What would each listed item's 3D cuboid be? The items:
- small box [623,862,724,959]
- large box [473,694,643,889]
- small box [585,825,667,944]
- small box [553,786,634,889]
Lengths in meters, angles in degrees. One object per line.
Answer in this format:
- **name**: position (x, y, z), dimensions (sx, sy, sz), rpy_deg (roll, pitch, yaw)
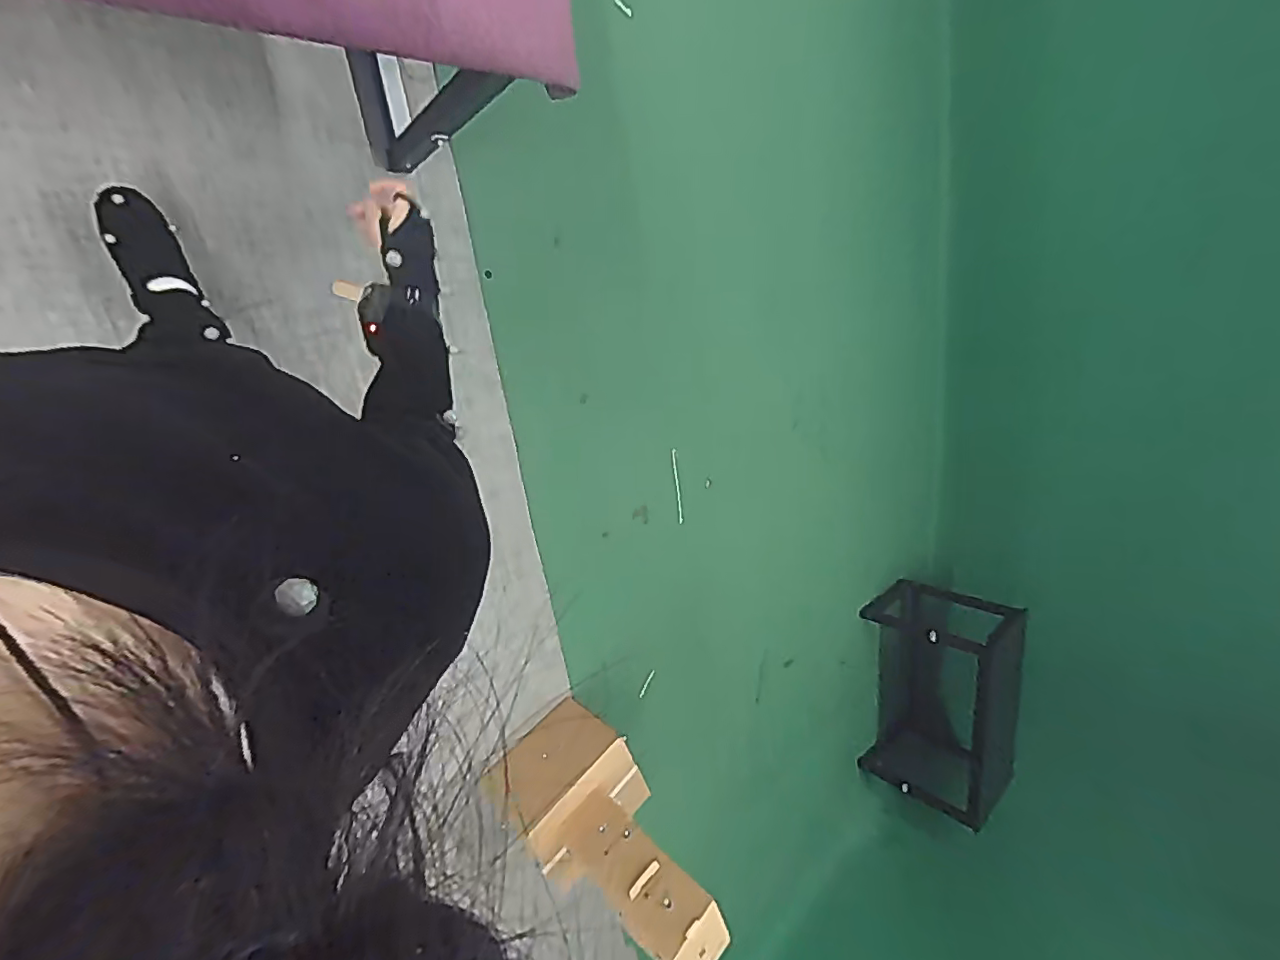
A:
- **small box**: position (0.082, 1.120, 1.368), dimensions (0.168, 0.176, 0.179), rpy_deg (-32, 116, -32)
- **large box**: position (-0.268, 1.016, 1.810), dimensions (0.408, 0.320, 0.320), rpy_deg (-37, 122, -31)
- **small box**: position (-0.028, 1.097, 1.488), dimensions (0.168, 0.176, 0.179), rpy_deg (-31, 116, -33)
- **small box**: position (-0.128, 1.066, 1.614), dimensions (0.179, 0.176, 0.168), rpy_deg (-33, 117, -32)
